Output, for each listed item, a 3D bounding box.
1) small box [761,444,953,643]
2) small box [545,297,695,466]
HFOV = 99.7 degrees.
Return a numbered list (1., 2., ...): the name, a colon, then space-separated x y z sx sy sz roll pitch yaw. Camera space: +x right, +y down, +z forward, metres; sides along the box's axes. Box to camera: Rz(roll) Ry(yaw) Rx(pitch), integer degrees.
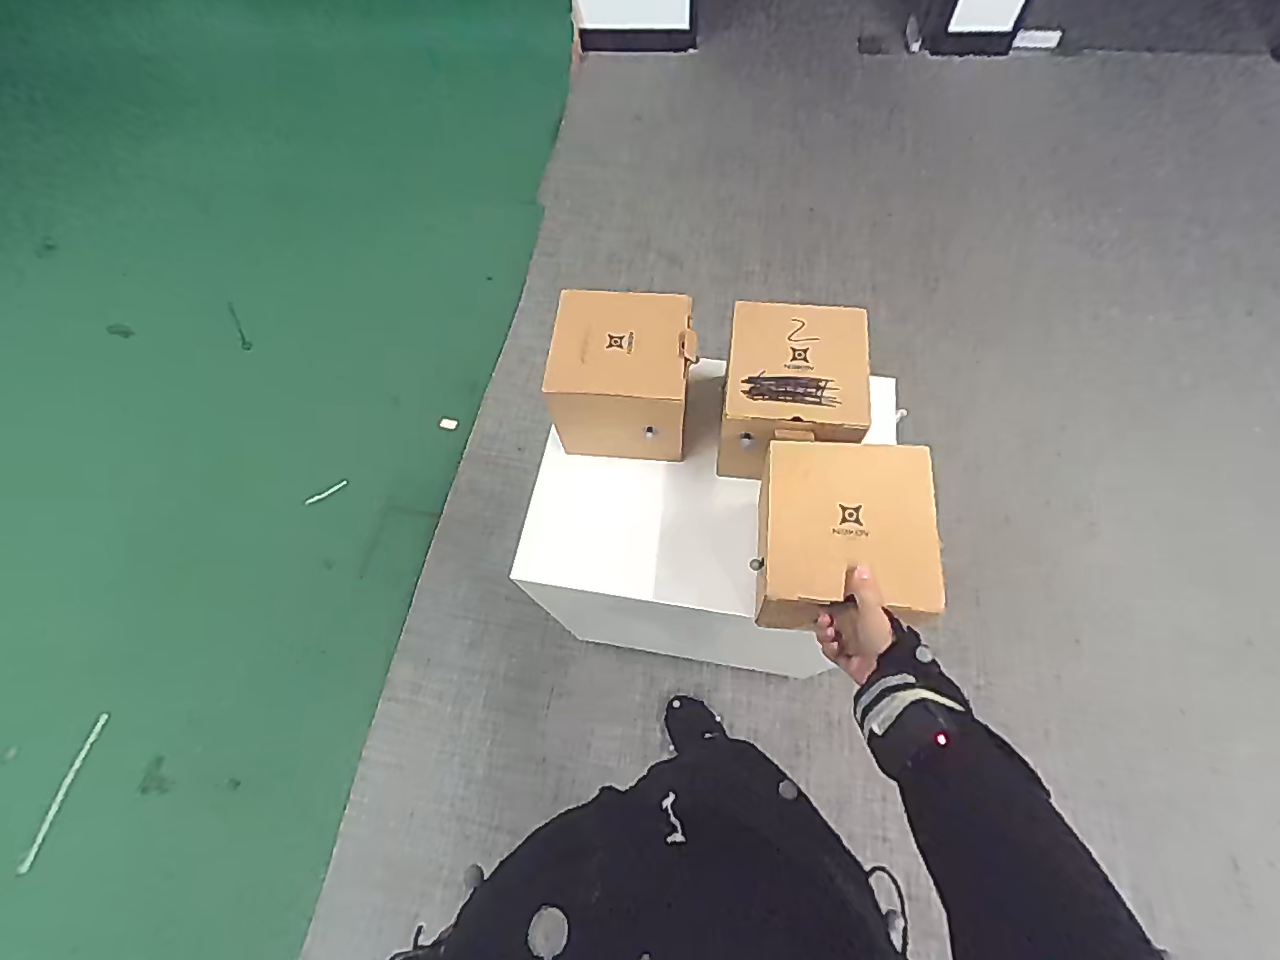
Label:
1. small box: 0.228 0.077 0.617 0.168 0.176 0.179 3 65 9
2. small box: -0.018 -0.130 0.753 0.179 0.176 0.168 3 64 5
